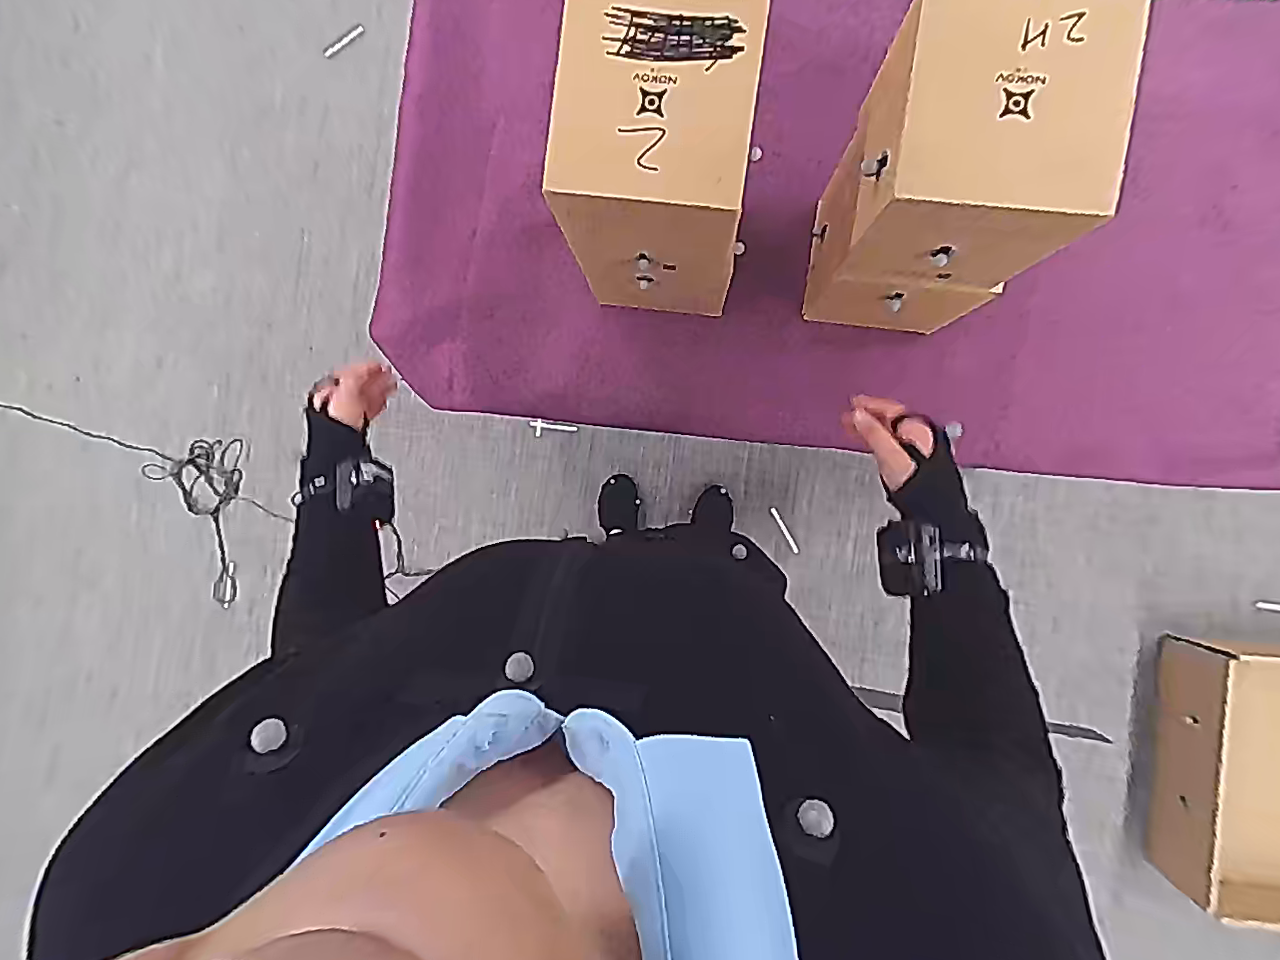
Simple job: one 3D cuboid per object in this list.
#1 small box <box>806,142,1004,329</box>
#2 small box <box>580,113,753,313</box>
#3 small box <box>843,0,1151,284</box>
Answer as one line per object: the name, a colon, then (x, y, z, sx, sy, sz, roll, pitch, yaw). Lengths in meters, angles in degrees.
small box: (0.318, -0.291, 0.659, 0.179, 0.176, 0.168, 8, 92, 5)
small box: (0.034, -0.320, 0.680, 0.179, 0.176, 0.168, 8, 92, 4)
small box: (0.298, -0.297, 0.495, 0.168, 0.176, 0.179, 8, 91, 4)
